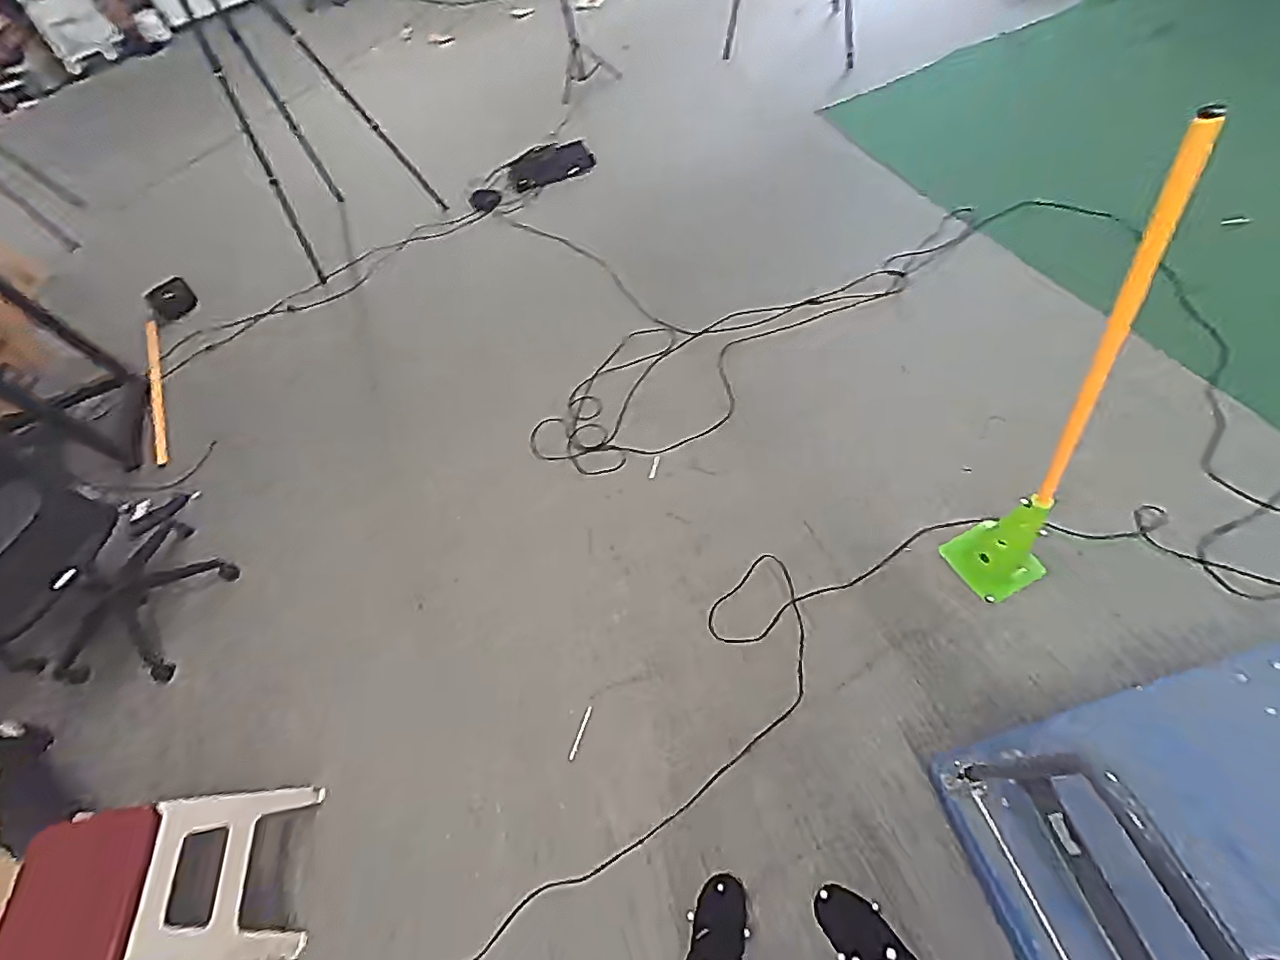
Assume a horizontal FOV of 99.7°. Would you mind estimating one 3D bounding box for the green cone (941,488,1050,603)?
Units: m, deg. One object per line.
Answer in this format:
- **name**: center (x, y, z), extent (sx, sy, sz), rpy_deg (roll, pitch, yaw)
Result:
- **green cone**: center (0.958, 0.133, 1.380), extent (0.200, 0.368, 0.202), rpy_deg (-28, 55, -6)
